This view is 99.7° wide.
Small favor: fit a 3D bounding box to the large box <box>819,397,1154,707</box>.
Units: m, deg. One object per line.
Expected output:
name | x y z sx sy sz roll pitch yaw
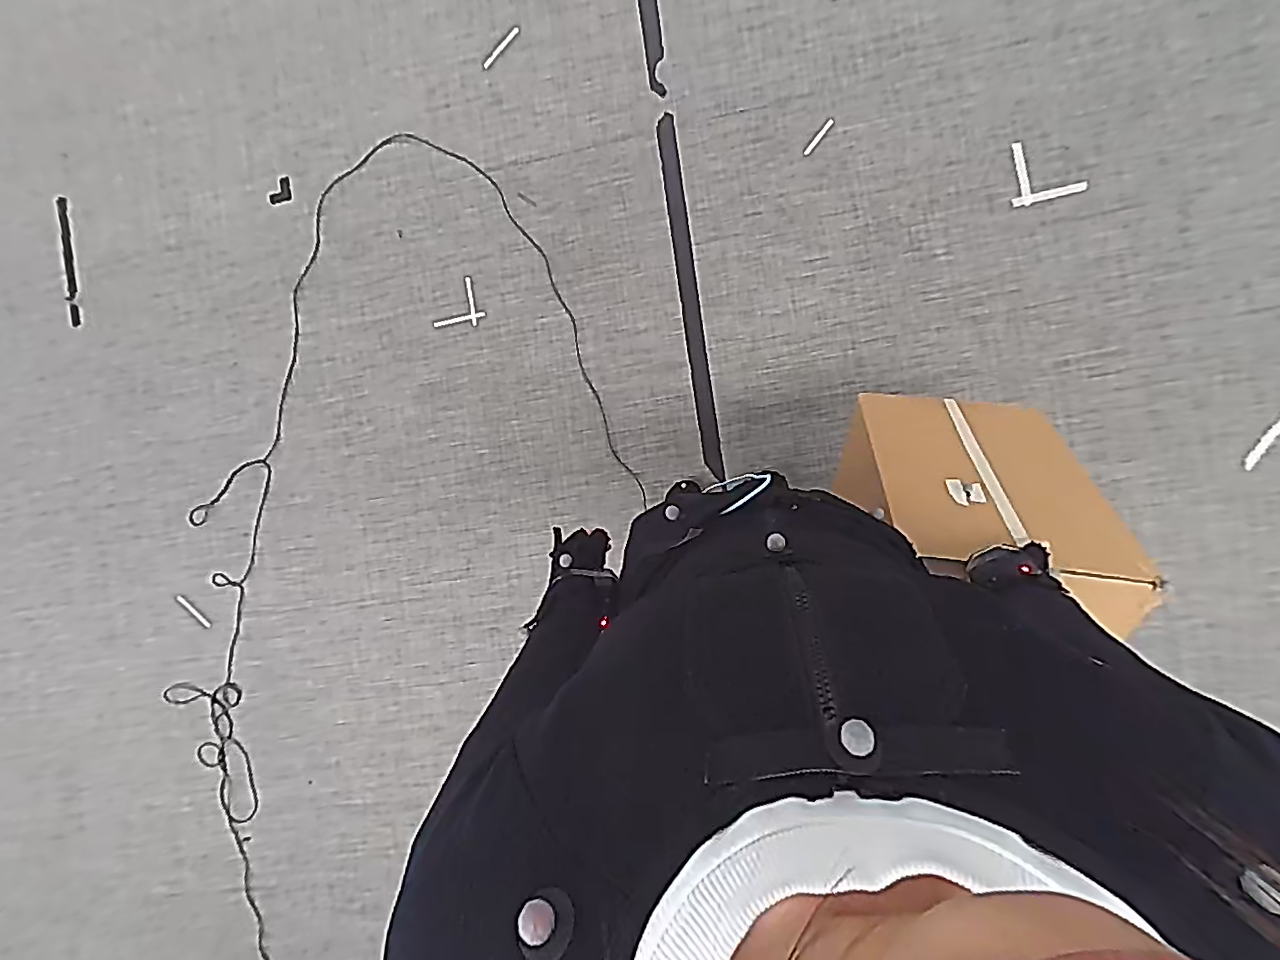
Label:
large box | 0.508 0.105 0.919 0.320 0.408 0.320 5 132 8
